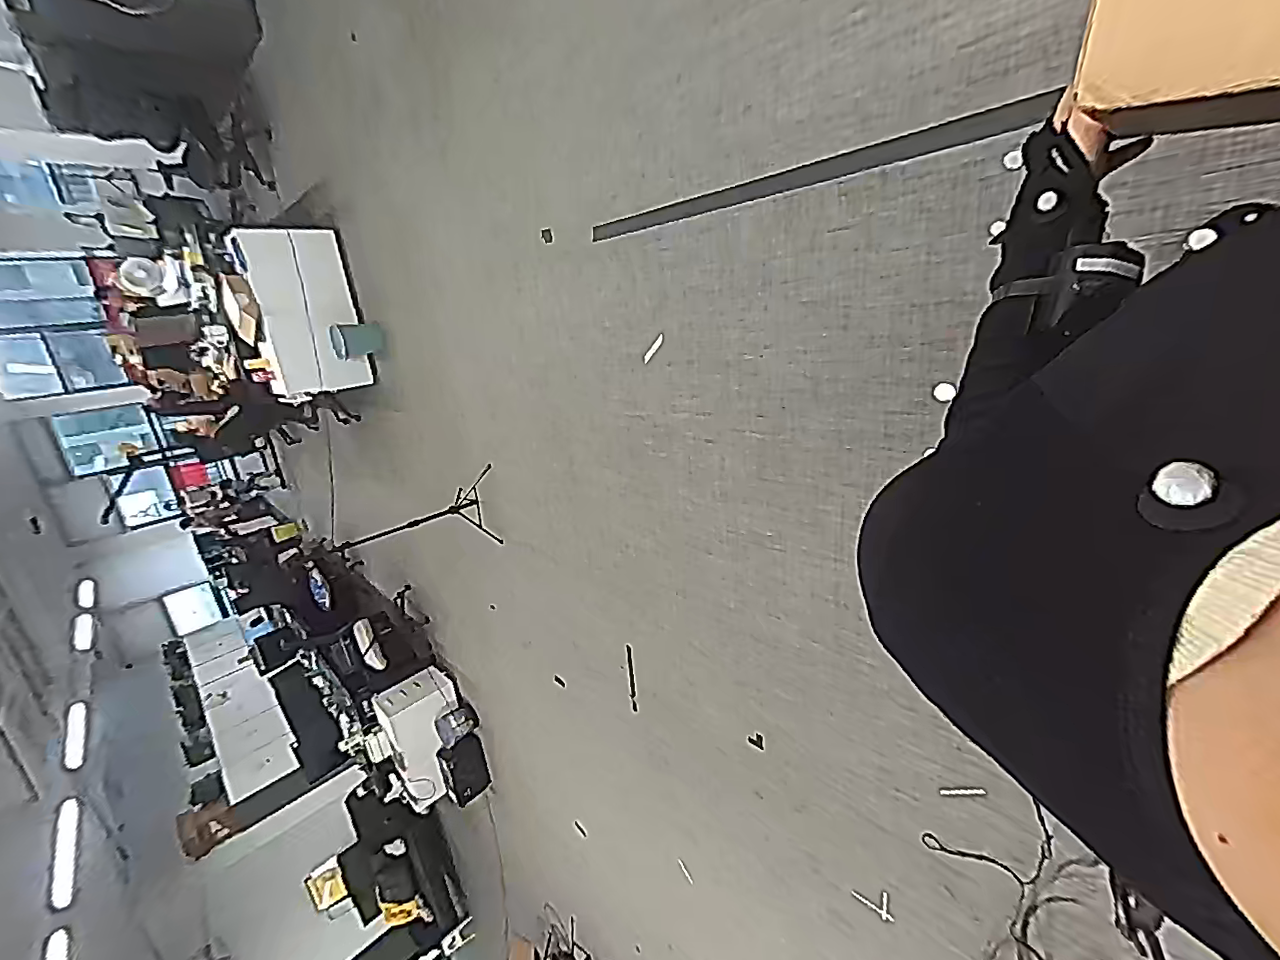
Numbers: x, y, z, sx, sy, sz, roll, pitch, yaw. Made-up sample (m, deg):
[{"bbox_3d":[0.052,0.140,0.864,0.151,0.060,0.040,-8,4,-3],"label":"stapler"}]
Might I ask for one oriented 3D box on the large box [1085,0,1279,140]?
[{"bbox_3d":[0.426,-0.316,0.158,0.408,0.320,0.320,16,123,36],"label":"large box"}]
